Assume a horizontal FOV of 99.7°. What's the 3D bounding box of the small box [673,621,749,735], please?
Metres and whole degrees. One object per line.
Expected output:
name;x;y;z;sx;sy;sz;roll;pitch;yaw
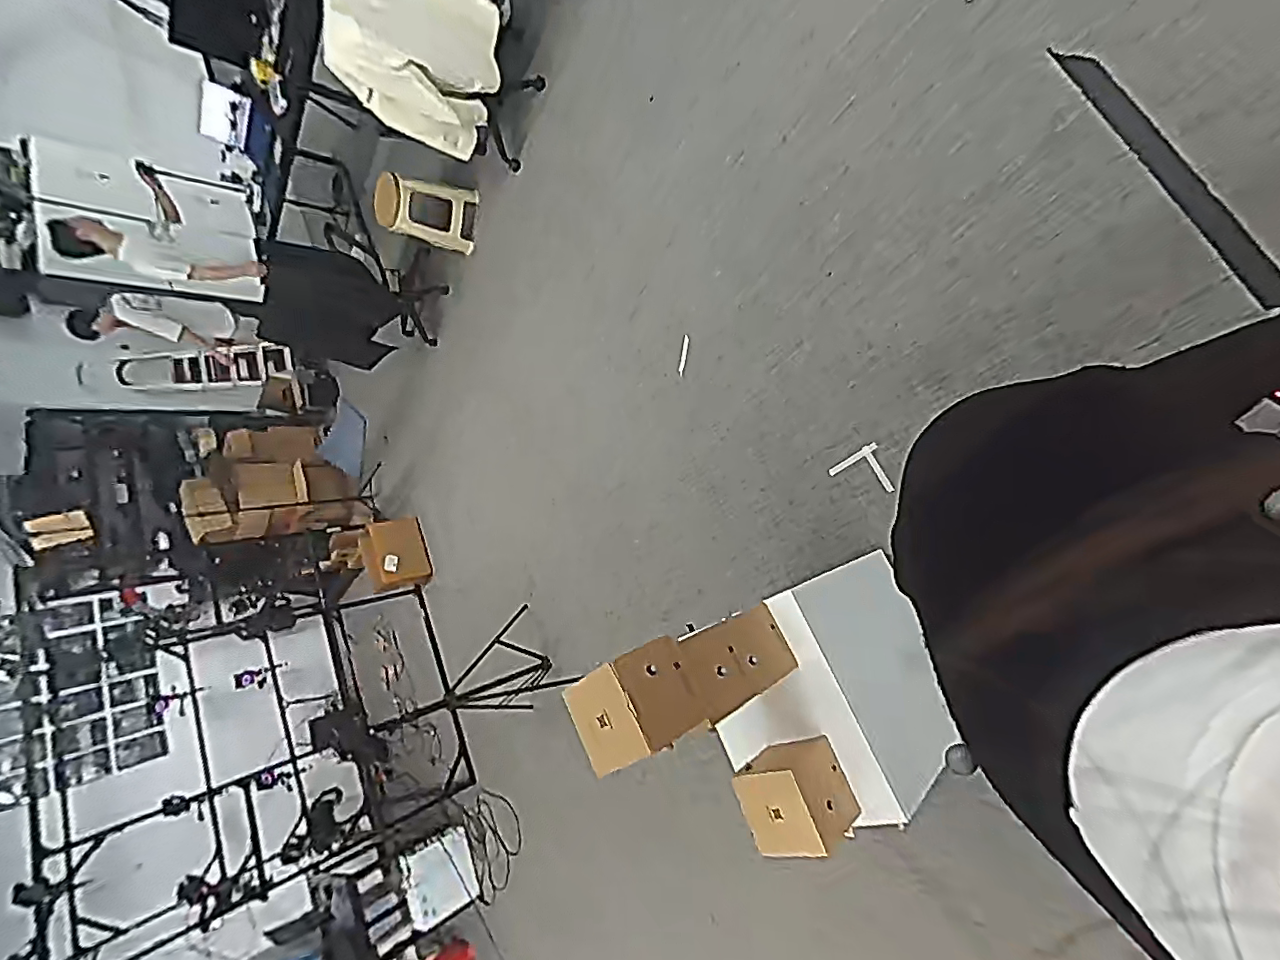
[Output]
small box;0.104;0.415;1.131;0.179;0.176;0.168;-40;68;40

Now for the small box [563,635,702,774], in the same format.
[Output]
small box;-0.008;0.412;1.012;0.179;0.176;0.168;-46;64;38

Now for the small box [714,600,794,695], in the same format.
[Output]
small box;0.219;0.399;1.249;0.179;0.176;0.168;-41;68;40

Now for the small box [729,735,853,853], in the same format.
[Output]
small box;0.334;0.675;1.173;0.179;0.176;0.168;-37;69;41
